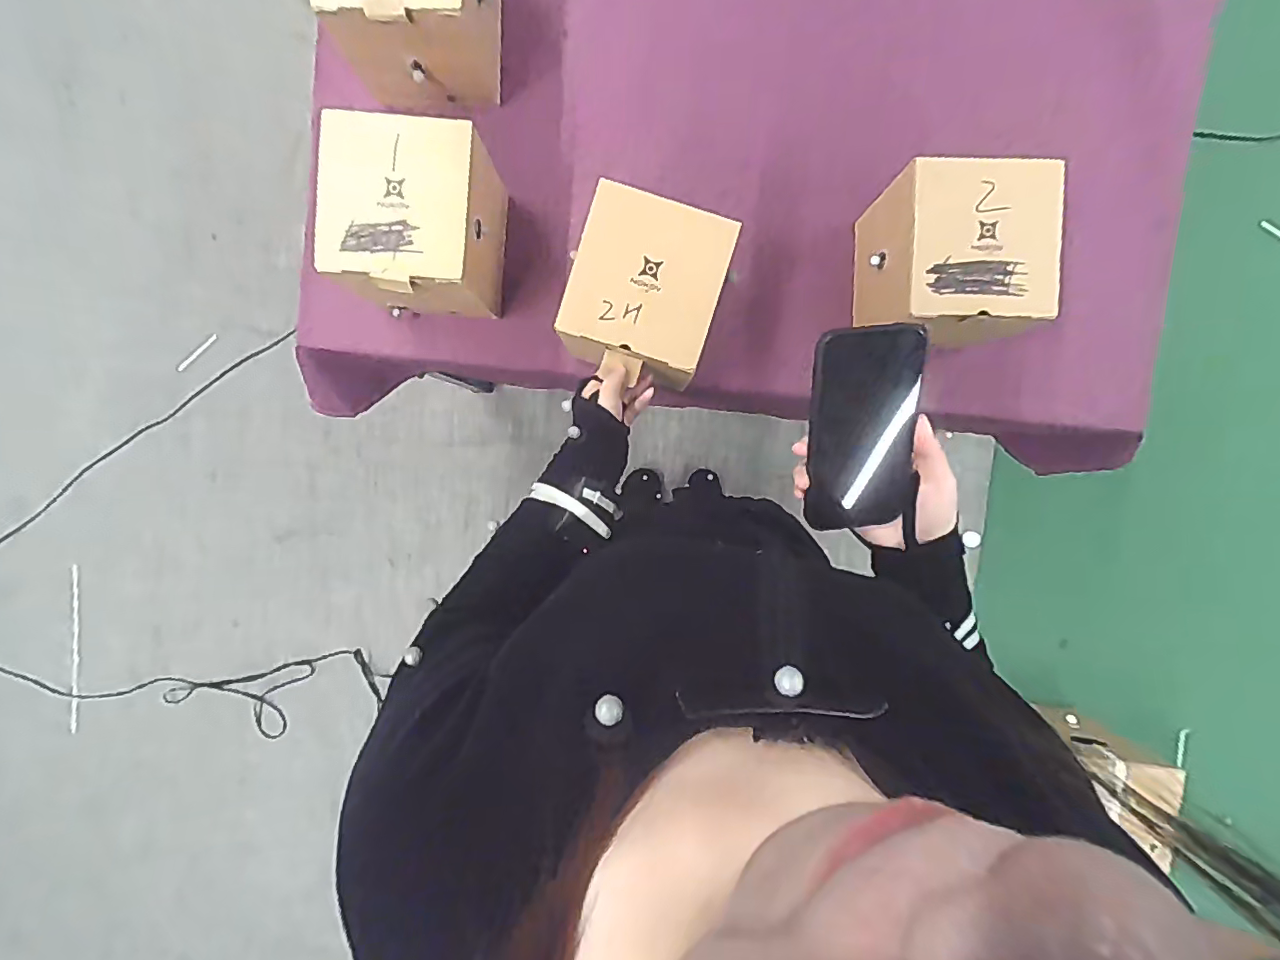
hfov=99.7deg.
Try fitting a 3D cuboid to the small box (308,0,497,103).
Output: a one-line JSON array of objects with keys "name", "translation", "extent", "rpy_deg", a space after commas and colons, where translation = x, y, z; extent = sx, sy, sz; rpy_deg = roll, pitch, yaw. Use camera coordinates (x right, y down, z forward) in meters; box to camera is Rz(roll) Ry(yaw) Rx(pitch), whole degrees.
[{"name": "small box", "translation": [-0.274, -0.594, 0.654], "extent": [0.168, 0.176, 0.179], "rpy_deg": [1, 94, -1]}]

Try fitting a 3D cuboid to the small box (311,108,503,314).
[{"name": "small box", "translation": [-0.274, -0.315, 0.670], "extent": [0.168, 0.176, 0.179], "rpy_deg": [4, 92, -1]}]

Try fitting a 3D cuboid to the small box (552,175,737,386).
[{"name": "small box", "translation": [0.004, -0.231, 0.675], "extent": [0.168, 0.176, 0.179], "rpy_deg": [18, 93, -1]}]
